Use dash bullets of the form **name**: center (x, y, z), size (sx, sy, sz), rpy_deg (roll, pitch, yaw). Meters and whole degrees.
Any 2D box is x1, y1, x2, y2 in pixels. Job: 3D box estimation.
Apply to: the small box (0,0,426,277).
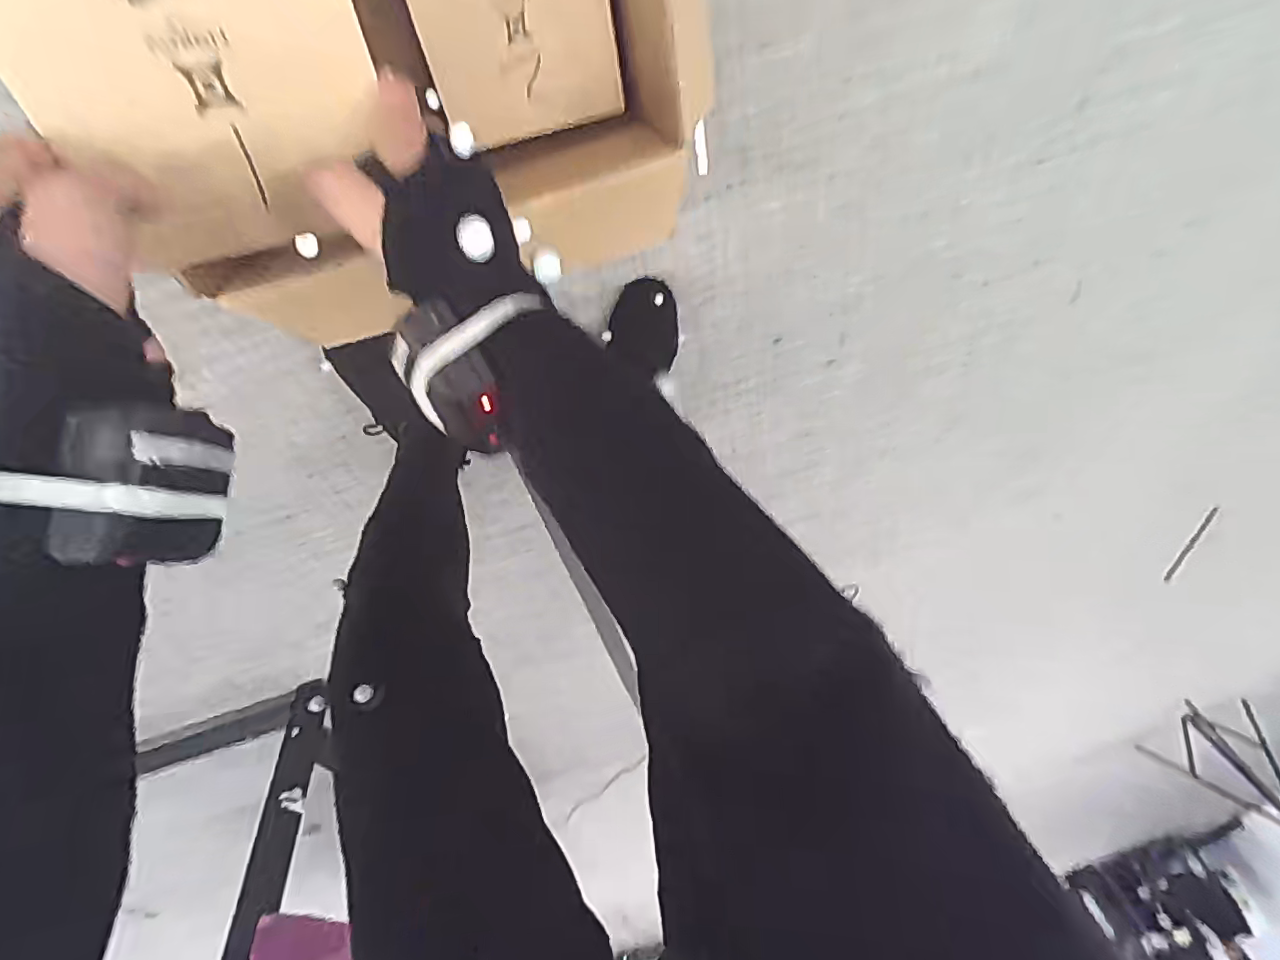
- **small box**: center (-0.254, -0.245, 0.343), size (0.168, 0.176, 0.179), rpy_deg (-20, 124, -16)
